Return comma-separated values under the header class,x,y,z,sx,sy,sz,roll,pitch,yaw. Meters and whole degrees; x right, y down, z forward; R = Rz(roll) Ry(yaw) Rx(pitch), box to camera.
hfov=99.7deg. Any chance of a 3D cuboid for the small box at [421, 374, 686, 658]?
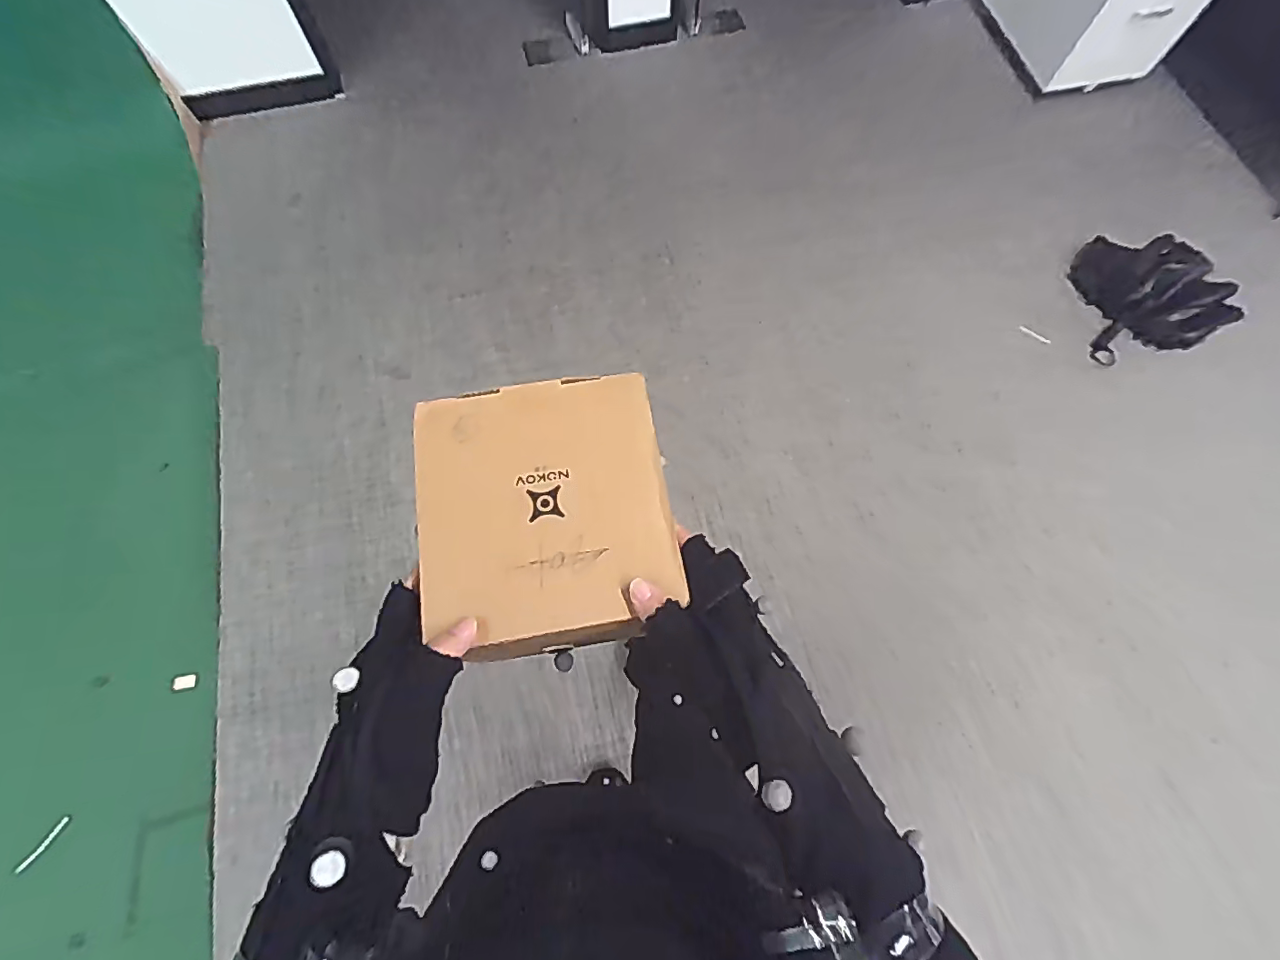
class,x,y,z,sx,sy,sz,roll,pitch,yaw
small box,-0.068,0.039,0.442,0.168,0.176,0.179,-9,70,-6
